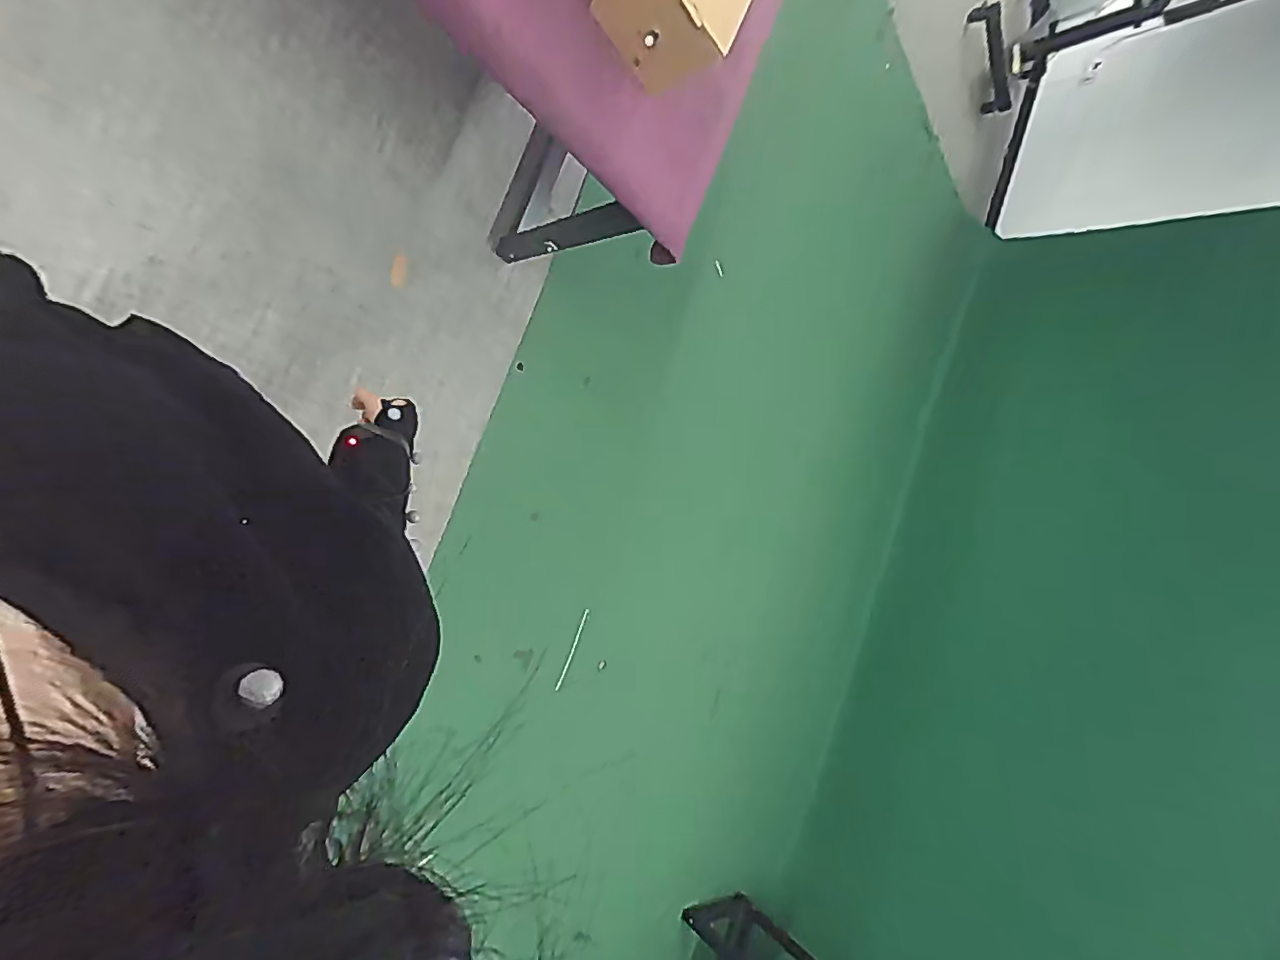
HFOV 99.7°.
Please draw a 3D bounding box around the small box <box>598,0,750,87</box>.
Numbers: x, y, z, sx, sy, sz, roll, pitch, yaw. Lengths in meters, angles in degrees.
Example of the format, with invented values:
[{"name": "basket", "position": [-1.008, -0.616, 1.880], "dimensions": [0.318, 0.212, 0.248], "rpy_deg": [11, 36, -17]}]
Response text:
[{"name": "small box", "position": [0.056, -0.778, 0.857], "dimensions": [0.168, 0.176, 0.179], "rpy_deg": [32, 79, -43]}]
